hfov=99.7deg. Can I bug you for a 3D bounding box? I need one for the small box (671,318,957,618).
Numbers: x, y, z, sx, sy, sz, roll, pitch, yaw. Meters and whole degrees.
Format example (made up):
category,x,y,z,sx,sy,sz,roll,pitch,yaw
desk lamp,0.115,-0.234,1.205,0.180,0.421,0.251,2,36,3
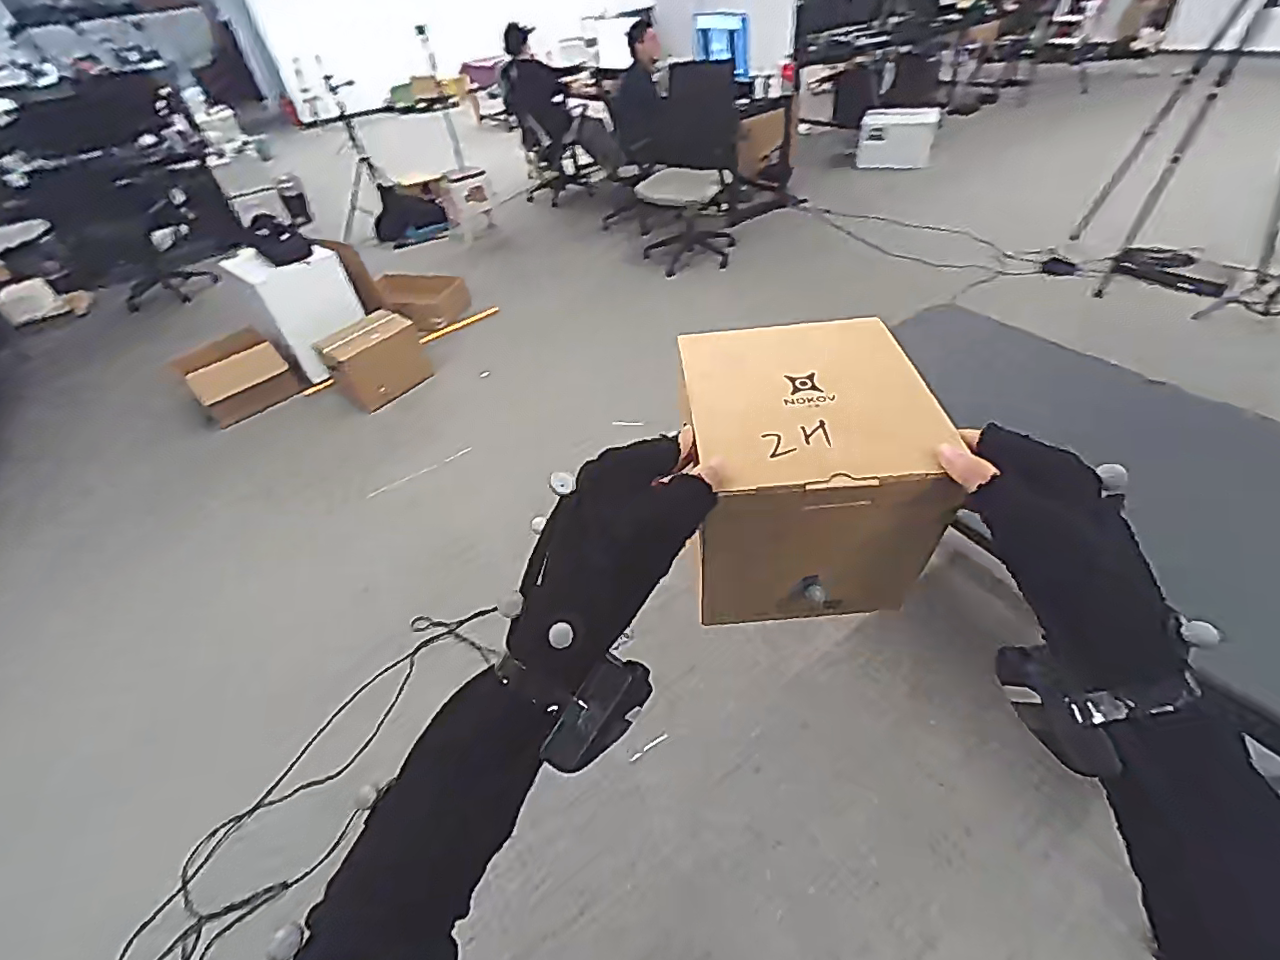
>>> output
category,x,y,z,sx,sy,sz,roll,pitch,yaw
small box,0.114,-0.009,0.445,0.168,0.176,0.179,-6,47,1
